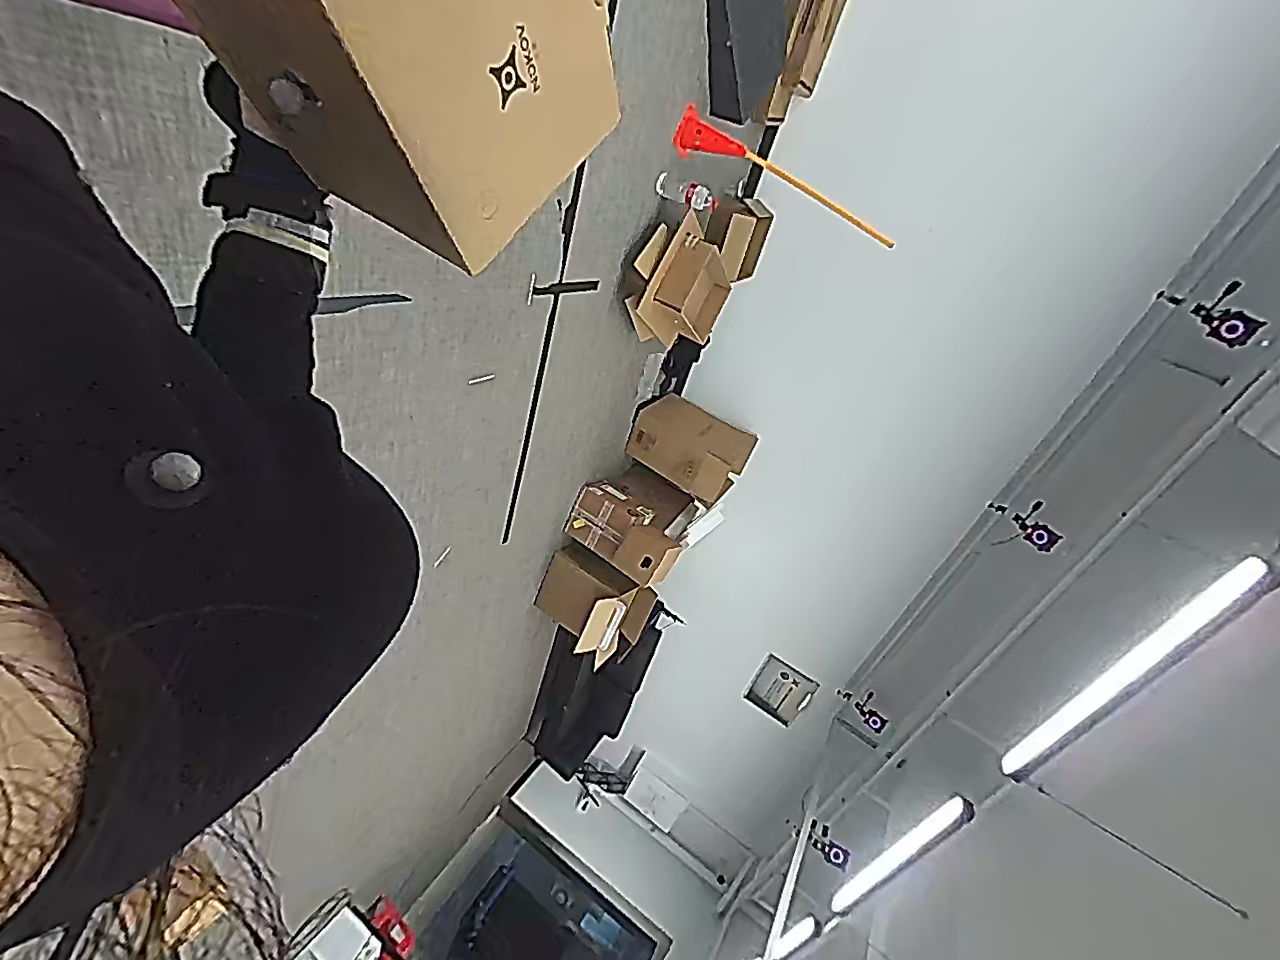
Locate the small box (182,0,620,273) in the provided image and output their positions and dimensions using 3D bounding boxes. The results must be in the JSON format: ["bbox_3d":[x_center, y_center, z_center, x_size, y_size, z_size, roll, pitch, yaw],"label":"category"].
[{"bbox_3d":[-0.139,-0.274,0.335,0.179,0.176,0.168,-55,164,-13],"label":"small box"}]

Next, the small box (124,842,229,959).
[{"bbox_3d":[-1.273,1.147,1.489,0.168,0.176,0.179,-31,146,-57],"label":"small box"}]
